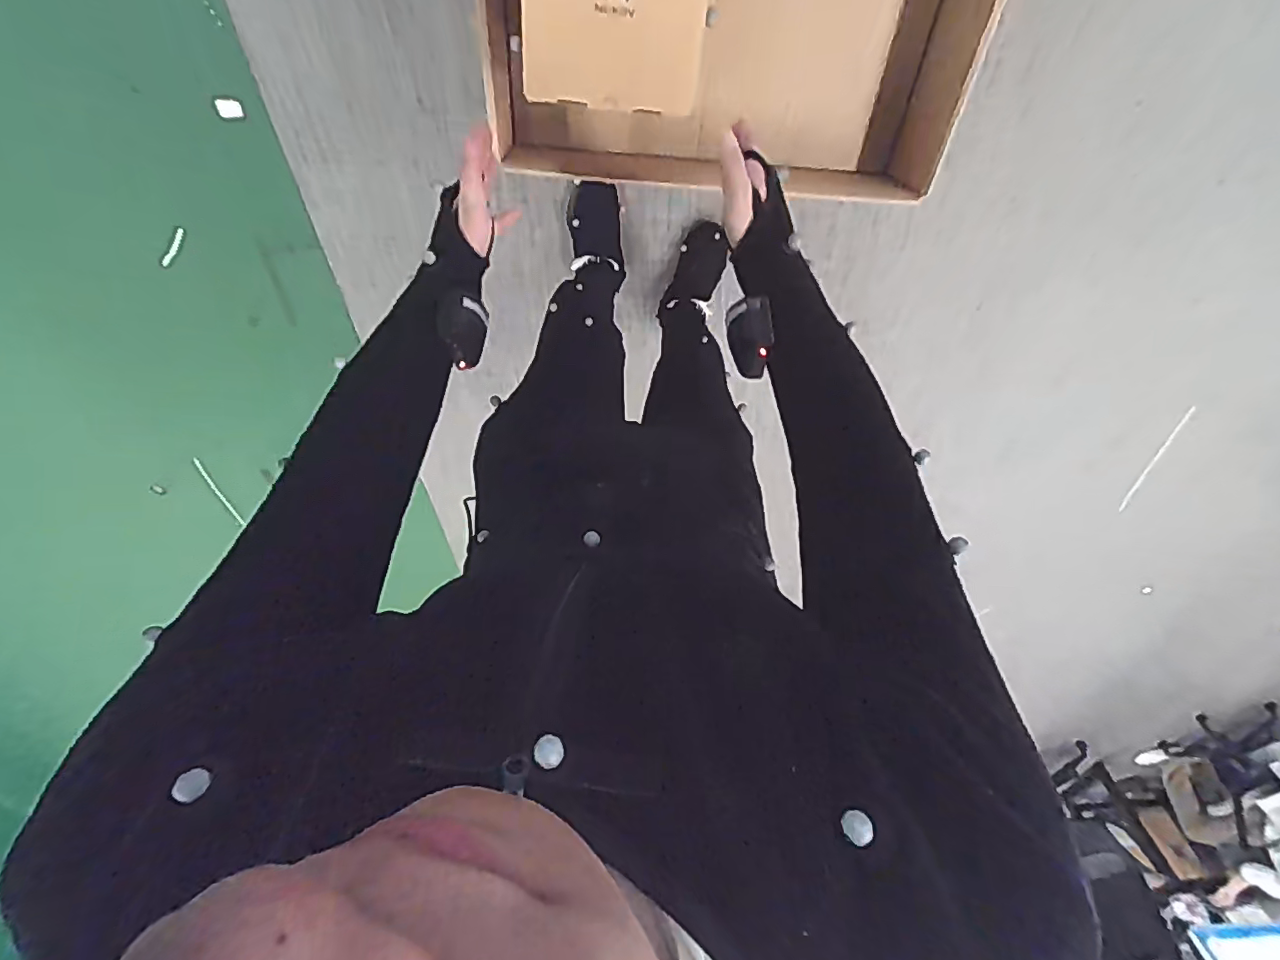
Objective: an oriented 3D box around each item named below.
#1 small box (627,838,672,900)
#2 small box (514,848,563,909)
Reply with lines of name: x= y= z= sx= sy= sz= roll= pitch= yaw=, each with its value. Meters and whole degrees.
small box: x=0.035 y=1.571 z=2.185 sx=0.168 sy=0.176 sz=0.179 roll=-3 pitch=131 yaw=-3
small box: x=-0.400 y=1.594 z=2.165 sx=0.168 sy=0.176 sz=0.179 roll=-4 pitch=132 yaw=-2
